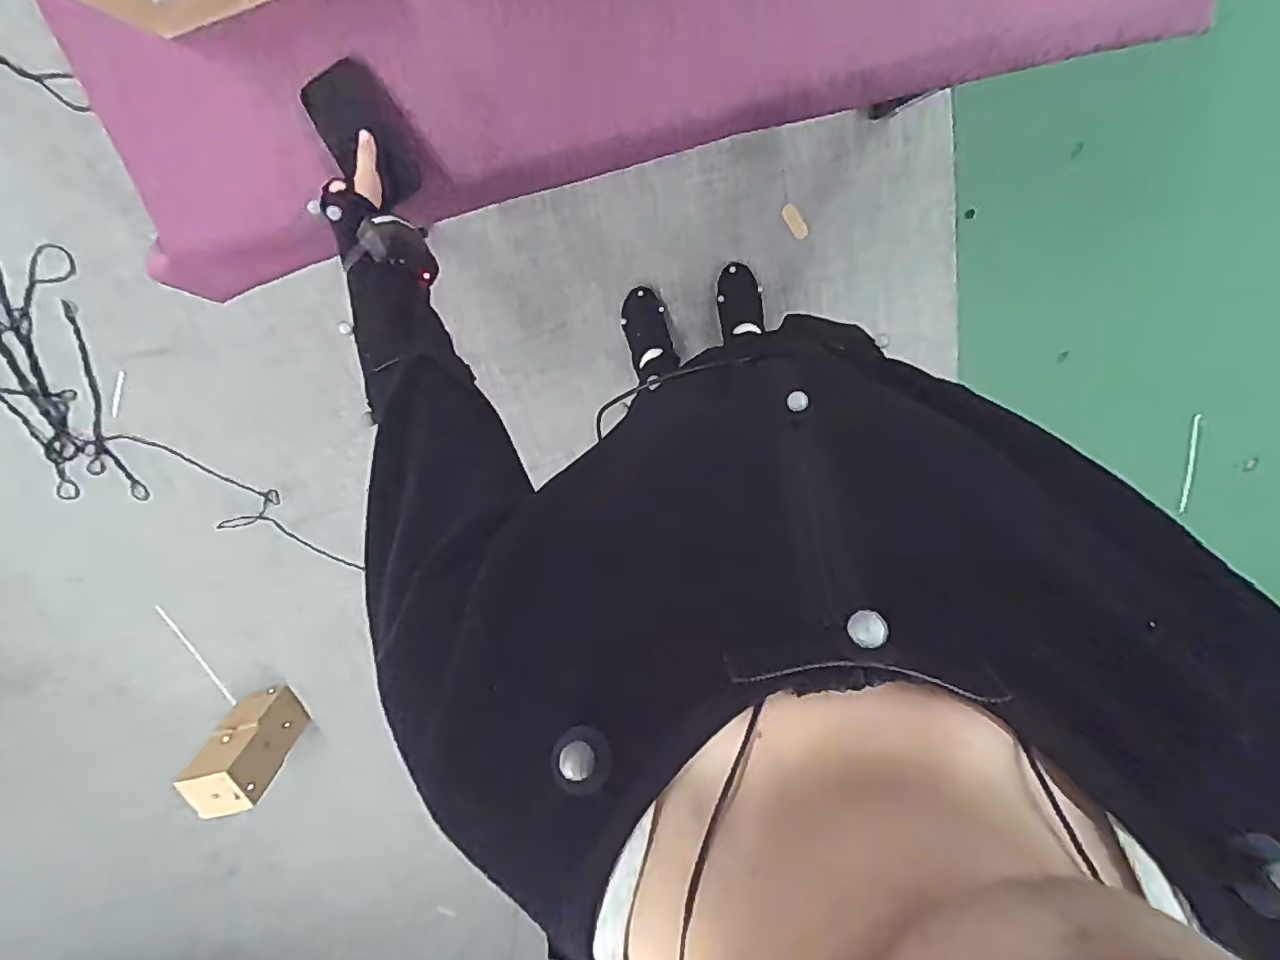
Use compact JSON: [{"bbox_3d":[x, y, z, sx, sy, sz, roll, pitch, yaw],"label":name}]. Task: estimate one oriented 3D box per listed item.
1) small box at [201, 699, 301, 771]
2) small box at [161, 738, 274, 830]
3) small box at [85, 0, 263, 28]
[{"bbox_3d":[-1.280,0.852,1.793,0.168,0.176,0.179,-14,113,5],"label":"small box"},{"bbox_3d":[-1.273,0.921,1.644,0.179,0.176,0.168,-13,113,5],"label":"small box"},{"bbox_3d":[-0.444,-0.527,0.457,0.168,0.176,0.179,-15,112,5],"label":"small box"}]
